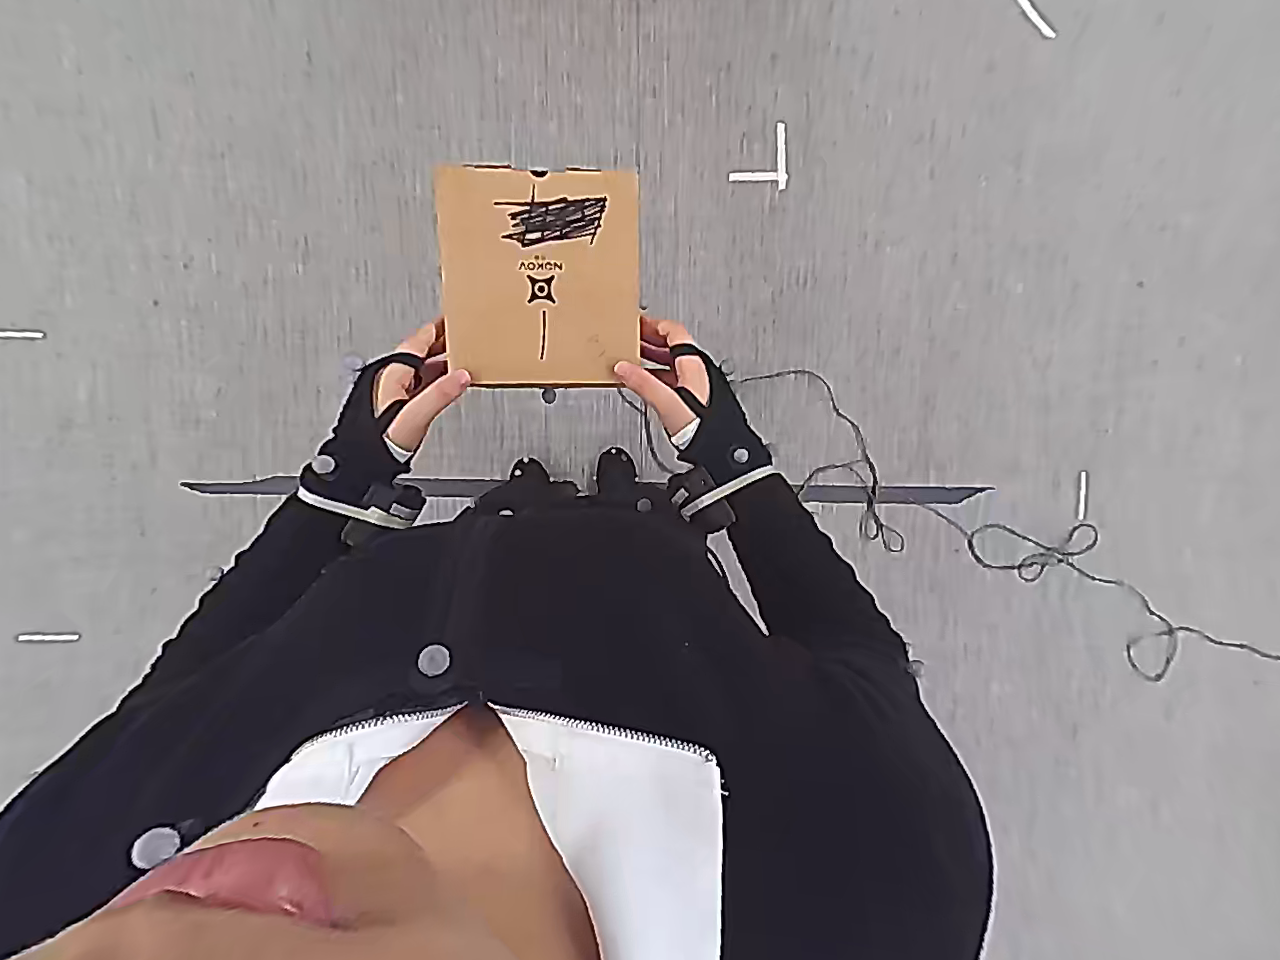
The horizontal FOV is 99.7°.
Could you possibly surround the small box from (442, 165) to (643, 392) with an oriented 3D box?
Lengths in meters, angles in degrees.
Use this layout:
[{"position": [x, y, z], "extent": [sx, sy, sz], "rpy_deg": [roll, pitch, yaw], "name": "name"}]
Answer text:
[{"position": [-0.088, -0.179, 0.531], "extent": [0.168, 0.176, 0.179], "rpy_deg": [-1, 99, -5], "name": "small box"}]
